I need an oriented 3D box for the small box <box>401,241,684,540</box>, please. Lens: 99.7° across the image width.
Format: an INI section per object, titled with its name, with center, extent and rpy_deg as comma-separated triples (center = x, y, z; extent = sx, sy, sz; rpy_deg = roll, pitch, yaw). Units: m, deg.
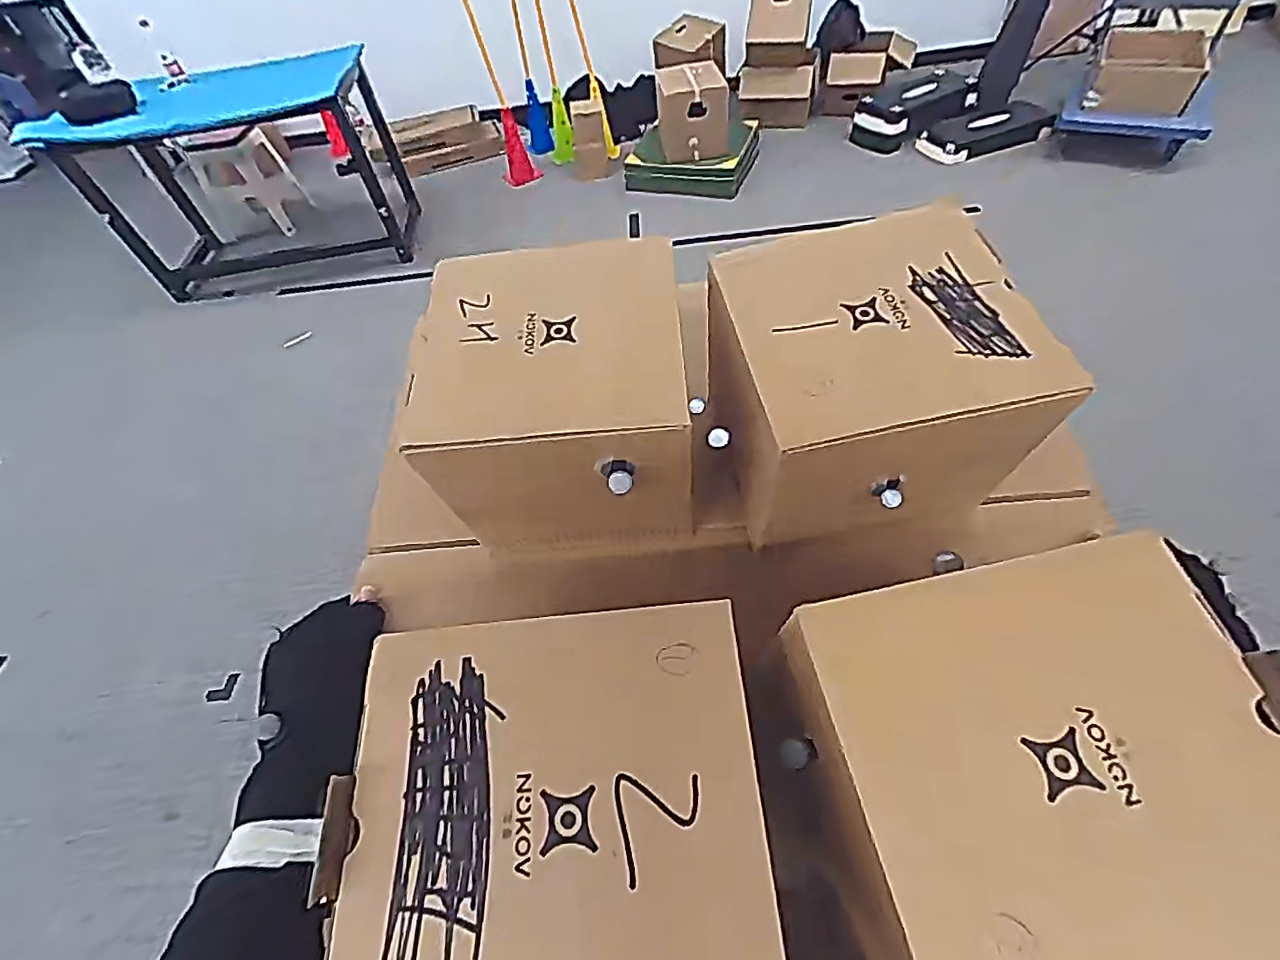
[small box]
center = -0.055, -0.061, 0.434
extent = 0.179, 0.176, 0.168
rpy_deg = -4, 60, 4
